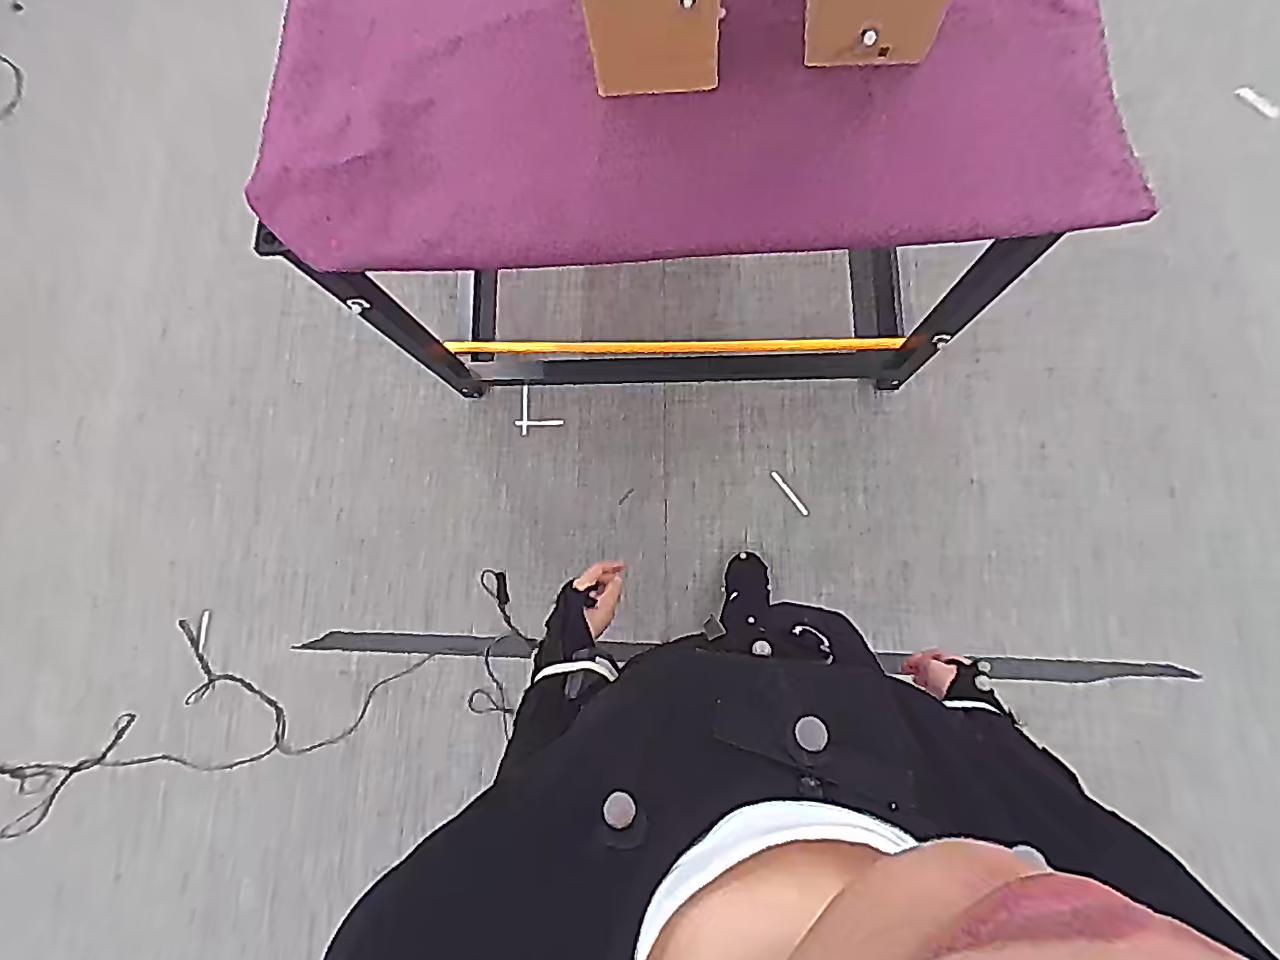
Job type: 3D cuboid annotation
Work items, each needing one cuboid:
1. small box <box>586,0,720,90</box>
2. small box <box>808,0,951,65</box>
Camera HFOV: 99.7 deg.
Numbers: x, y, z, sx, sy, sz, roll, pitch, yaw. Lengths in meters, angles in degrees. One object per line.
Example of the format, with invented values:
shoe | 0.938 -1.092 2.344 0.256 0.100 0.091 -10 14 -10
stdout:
small box | 0.020 -0.667 0.731 0.179 0.176 0.168 0 80 5
small box | 0.321 -0.694 0.707 0.168 0.176 0.179 3 81 6
